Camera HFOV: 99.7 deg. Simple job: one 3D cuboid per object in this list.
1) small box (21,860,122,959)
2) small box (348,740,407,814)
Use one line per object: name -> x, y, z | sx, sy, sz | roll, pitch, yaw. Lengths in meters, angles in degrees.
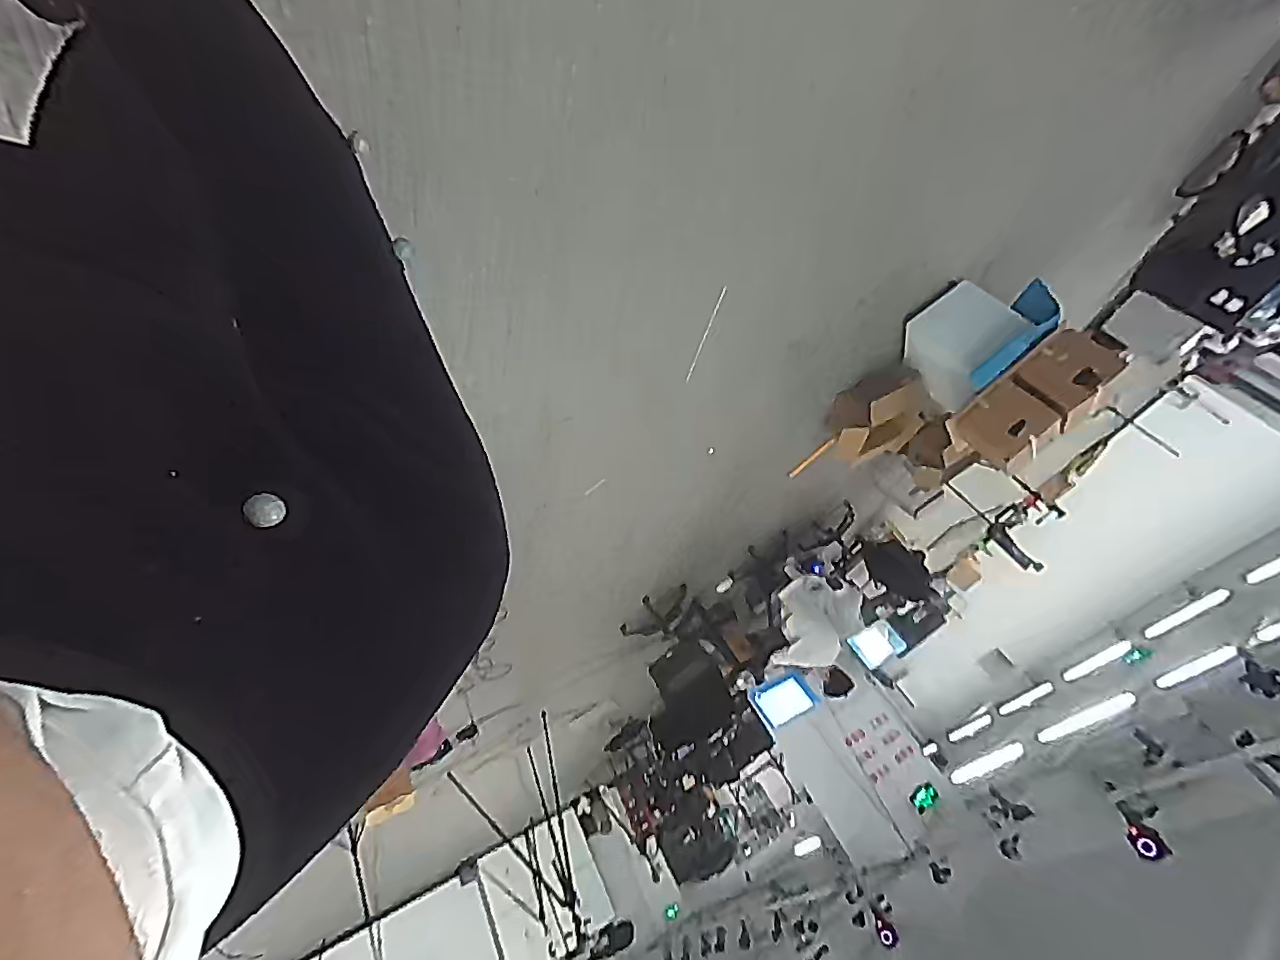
small box -> -1.650, 1.250, 1.579 | 0.168, 0.176, 0.179 | -13, 145, -34
small box -> -0.986, 1.104, 2.026 | 0.168, 0.176, 0.179 | -12, 143, -34
